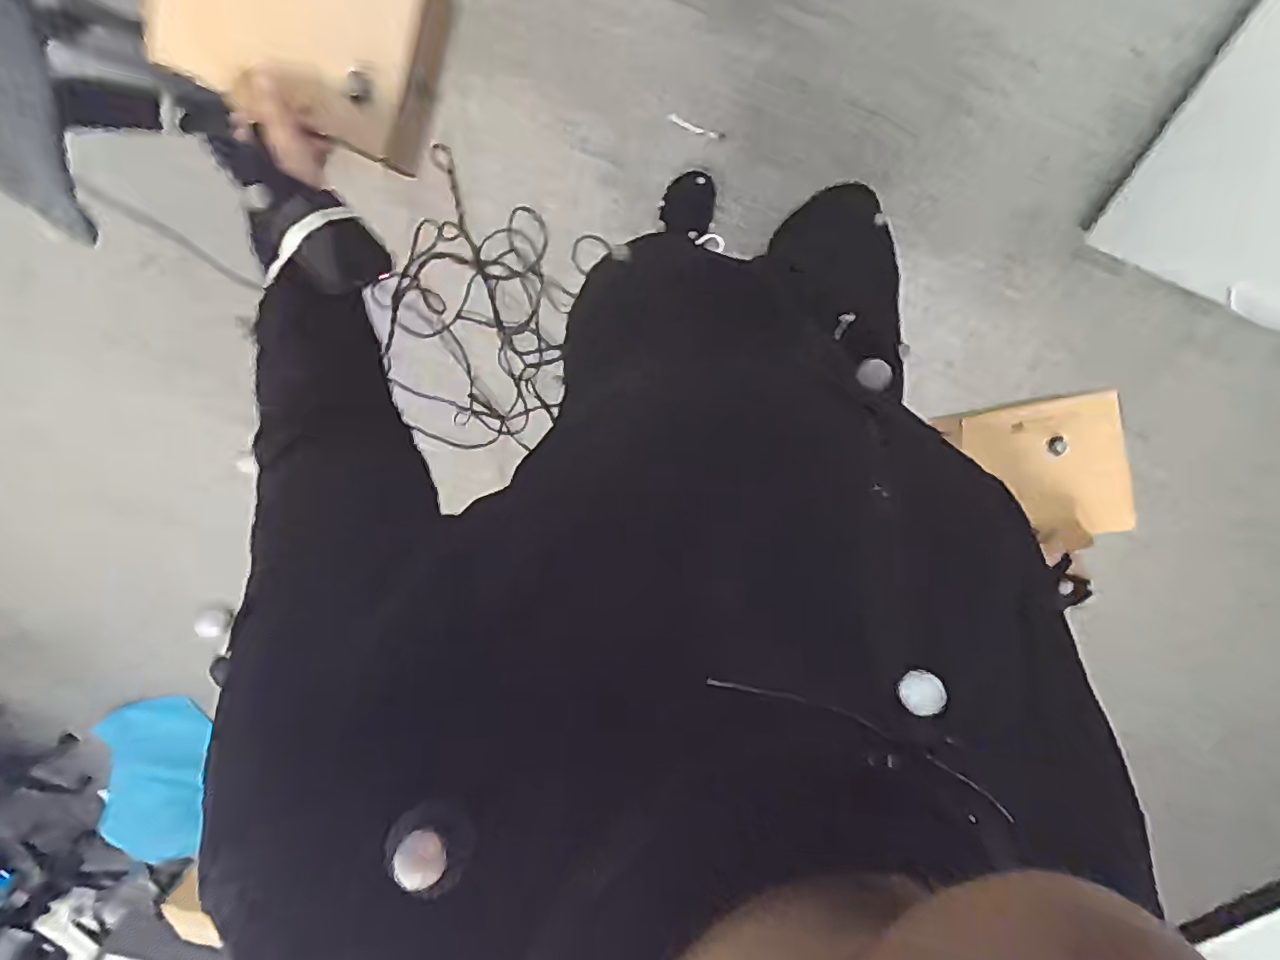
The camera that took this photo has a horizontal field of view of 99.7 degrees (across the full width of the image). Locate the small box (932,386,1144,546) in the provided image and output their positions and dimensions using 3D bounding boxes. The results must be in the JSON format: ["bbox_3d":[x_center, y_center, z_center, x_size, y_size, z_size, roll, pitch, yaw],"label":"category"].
[{"bbox_3d":[0.501,-0.023,0.708,0.168,0.179,0.176,-11,93,13],"label":"small box"}]
